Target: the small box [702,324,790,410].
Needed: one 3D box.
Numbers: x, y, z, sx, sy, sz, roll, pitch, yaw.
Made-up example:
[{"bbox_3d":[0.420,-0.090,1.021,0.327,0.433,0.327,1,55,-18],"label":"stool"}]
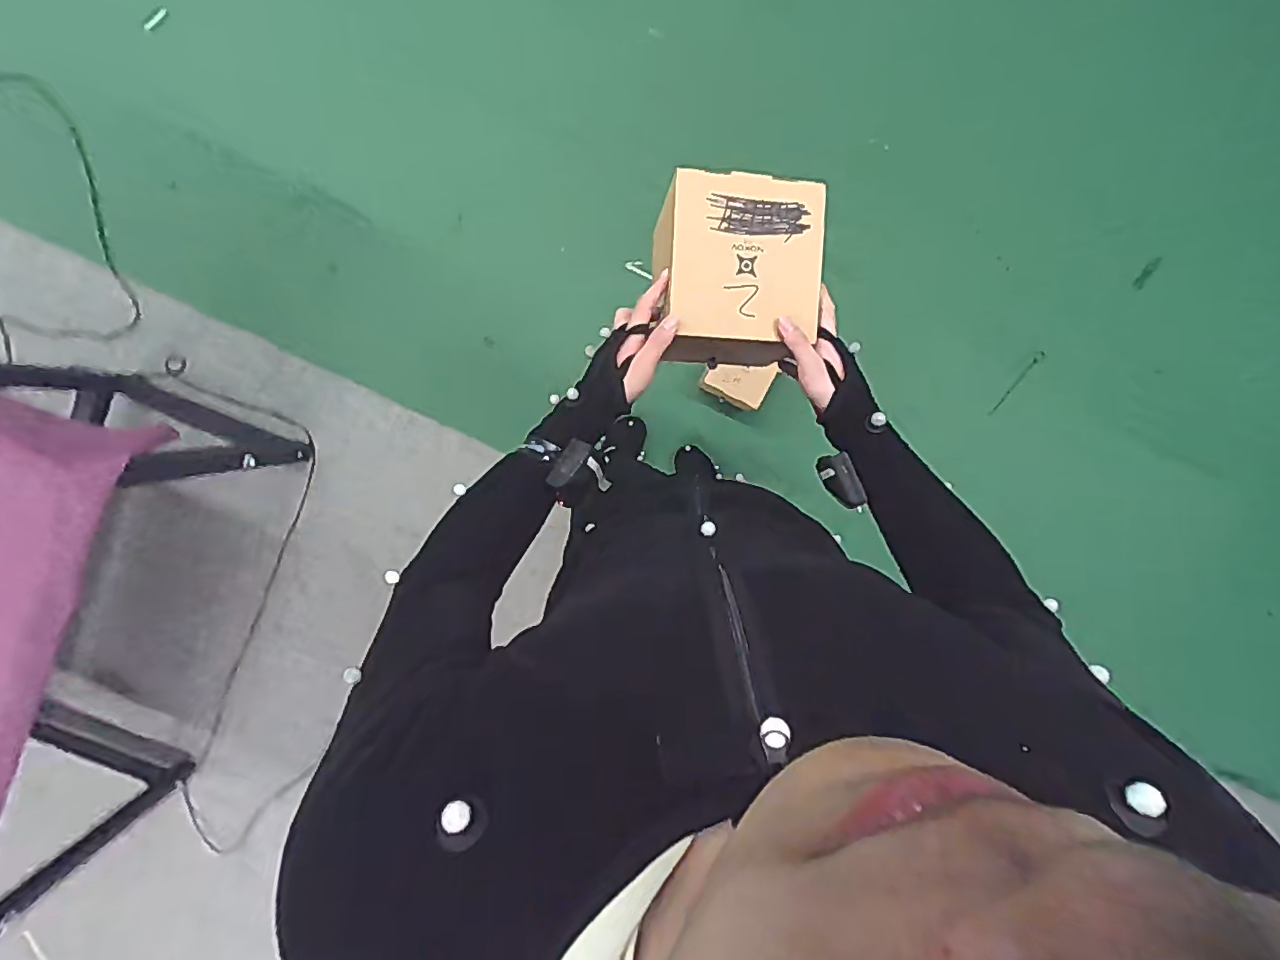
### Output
[{"bbox_3d":[0.287,-0.310,1.512,0.168,0.176,0.179,28,96,-3],"label":"small box"}]
